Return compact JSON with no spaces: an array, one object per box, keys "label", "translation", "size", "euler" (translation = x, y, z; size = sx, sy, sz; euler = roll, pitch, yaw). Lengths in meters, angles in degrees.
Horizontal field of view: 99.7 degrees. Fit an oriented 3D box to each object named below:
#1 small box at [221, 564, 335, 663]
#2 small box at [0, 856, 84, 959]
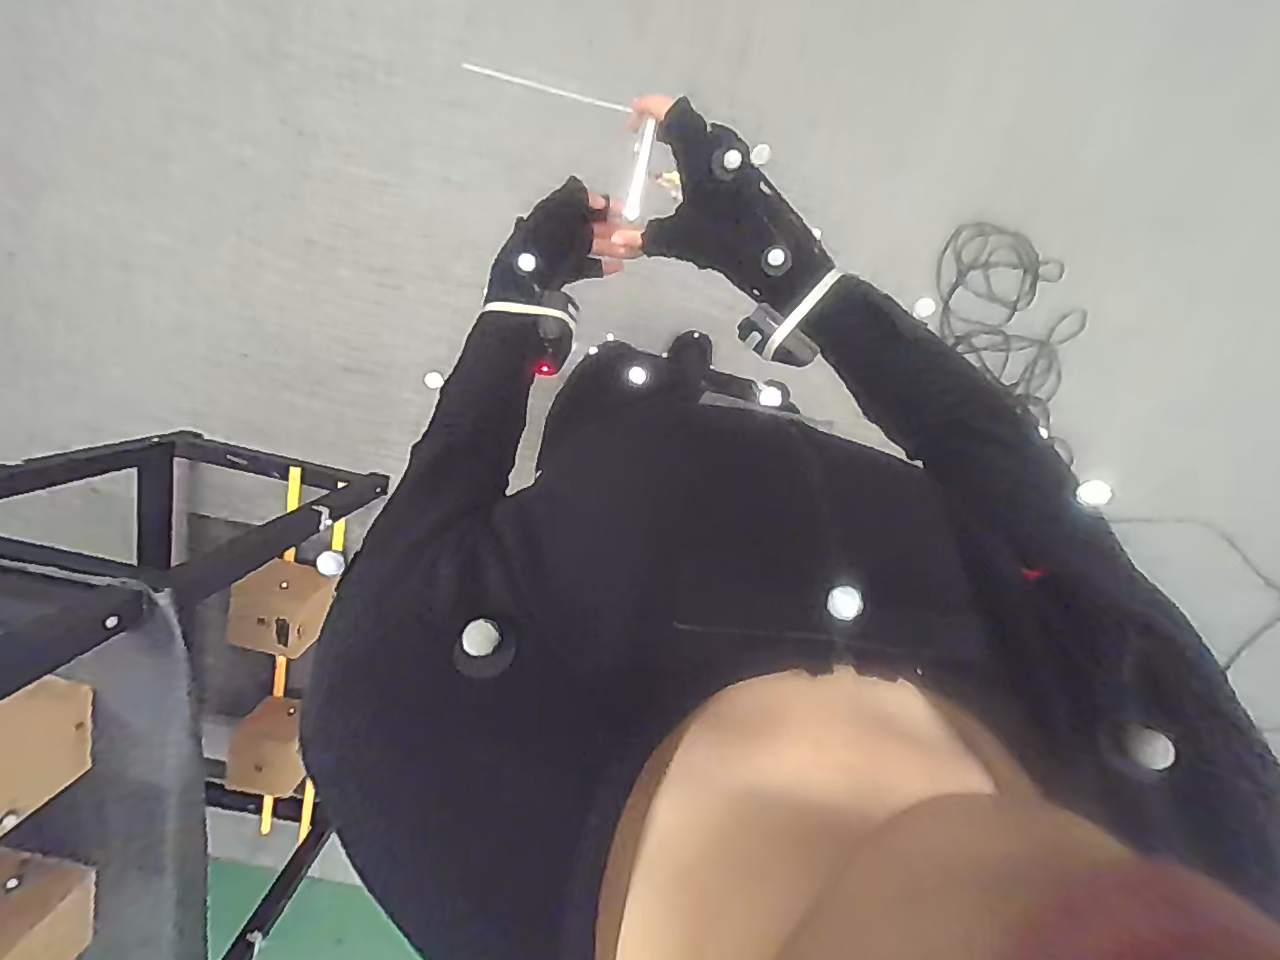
[{"label":"small box","translation":[-0.916,0.333,1.383],"size":[0.179,0.176,0.168],"euler":[17,103,-4]},{"label":"small box","translation":[-1.035,0.744,0.846],"size":[0.168,0.176,0.179],"euler":[16,104,-4]}]
